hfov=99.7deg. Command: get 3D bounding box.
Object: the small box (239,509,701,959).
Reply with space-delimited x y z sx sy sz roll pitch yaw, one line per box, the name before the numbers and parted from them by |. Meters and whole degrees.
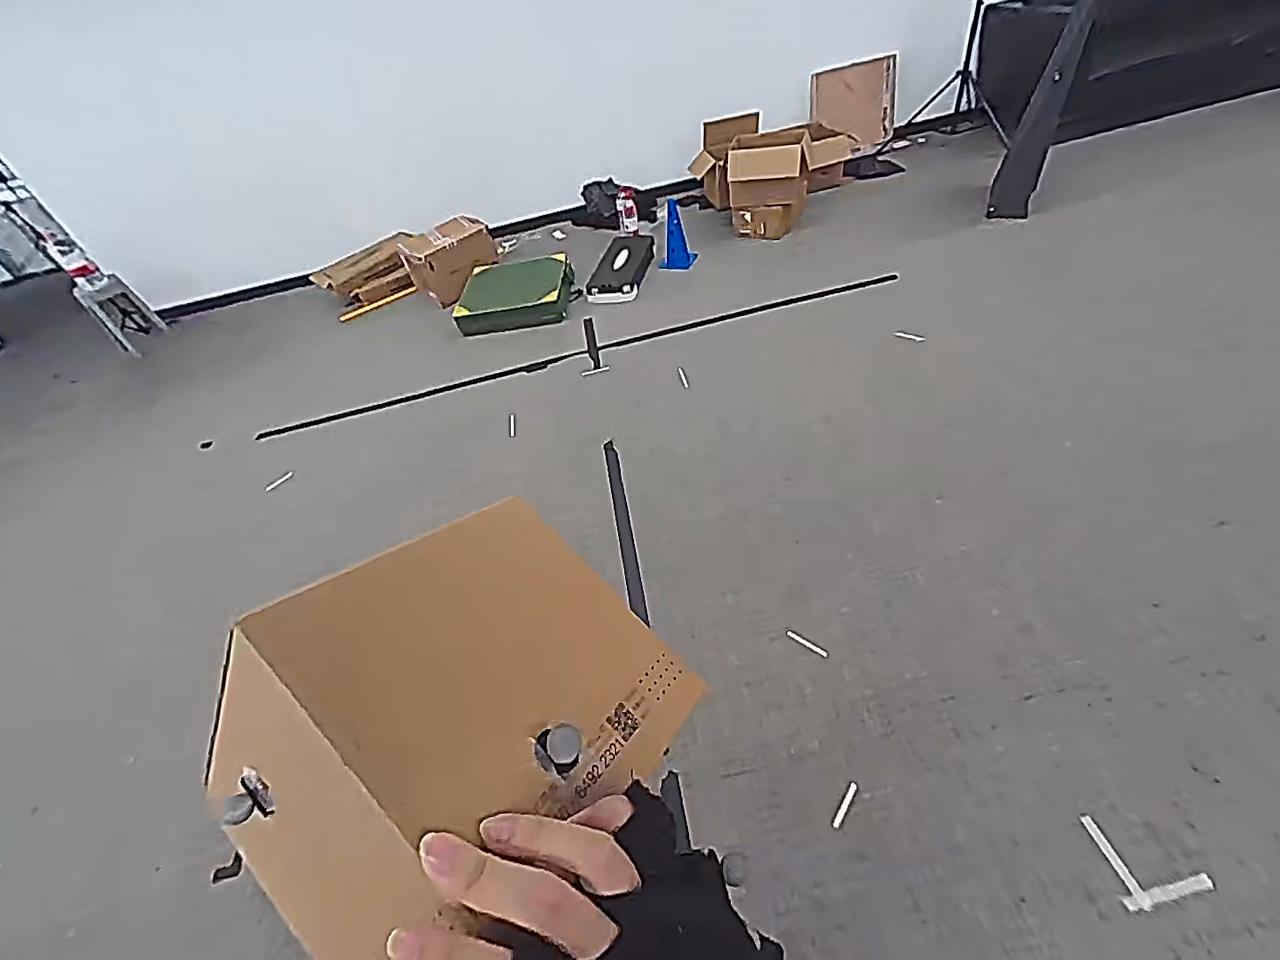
small box | -0.097 0.154 0.323 0.176 0.179 0.168 43 32 11
